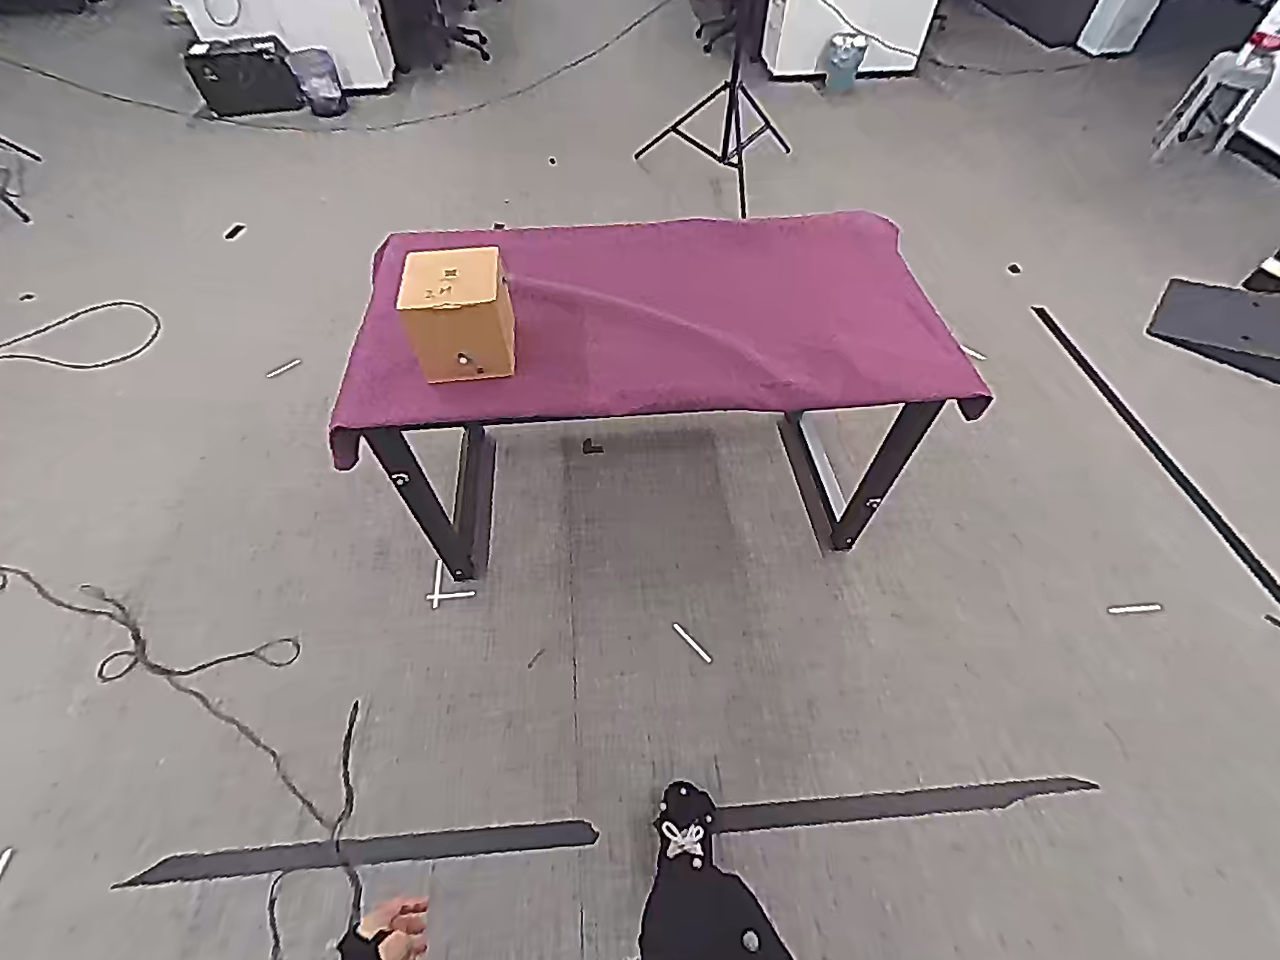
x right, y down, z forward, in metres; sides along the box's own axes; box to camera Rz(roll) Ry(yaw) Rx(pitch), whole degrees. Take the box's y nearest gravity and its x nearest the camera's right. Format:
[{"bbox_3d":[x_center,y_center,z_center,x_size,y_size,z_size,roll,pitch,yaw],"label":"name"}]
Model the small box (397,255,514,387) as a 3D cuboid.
[{"bbox_3d":[-0.338,-0.299,1.023,0.168,0.176,0.179,-7,54,-5],"label":"small box"}]
